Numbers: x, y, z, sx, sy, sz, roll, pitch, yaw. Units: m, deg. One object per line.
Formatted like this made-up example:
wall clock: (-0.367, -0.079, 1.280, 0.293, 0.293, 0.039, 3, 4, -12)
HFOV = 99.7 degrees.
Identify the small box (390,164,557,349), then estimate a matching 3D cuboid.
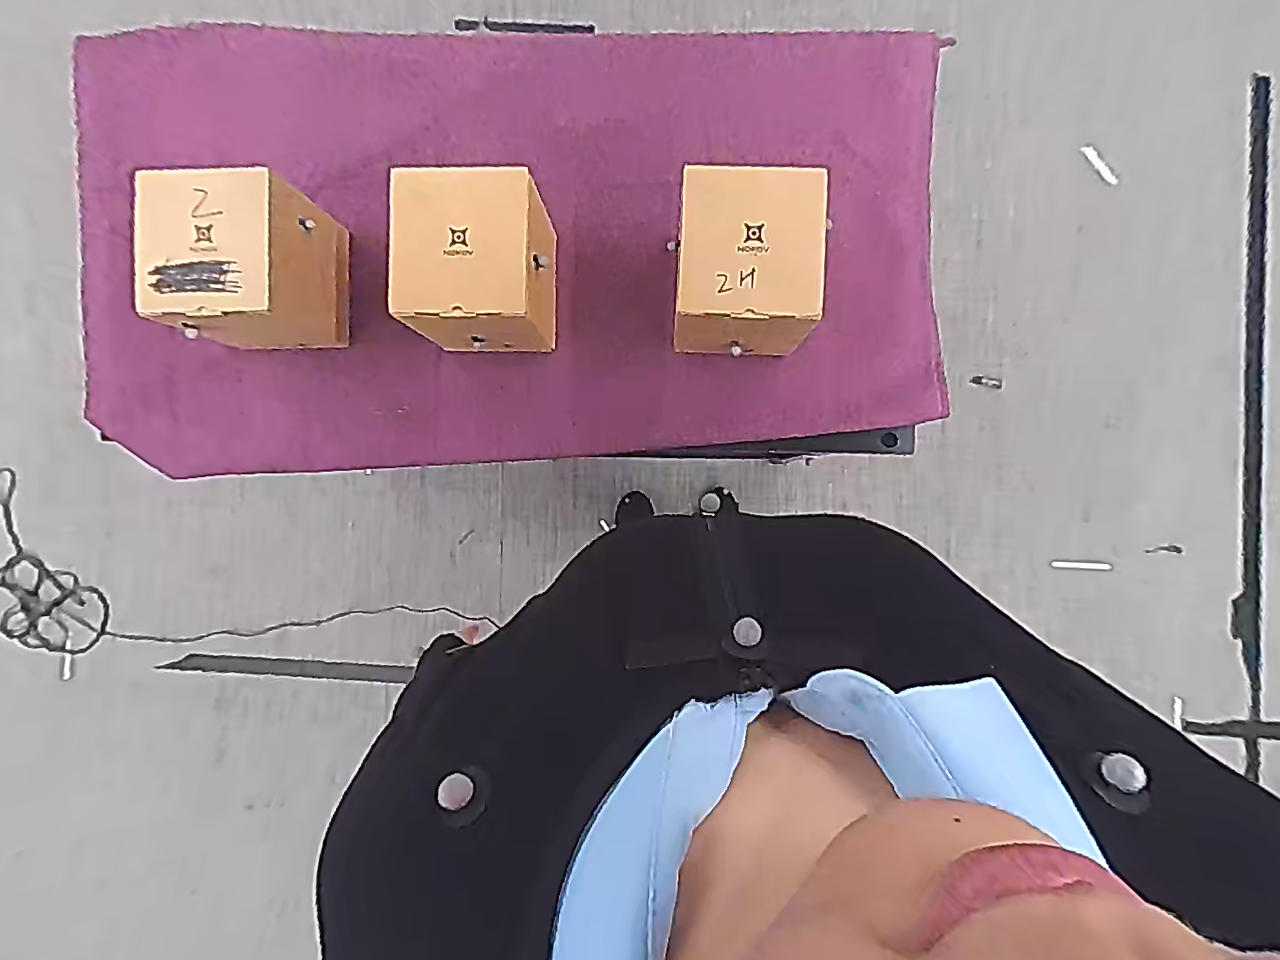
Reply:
small box: (-0.207, -0.282, 0.712, 0.168, 0.176, 0.179, 1, 90, 2)

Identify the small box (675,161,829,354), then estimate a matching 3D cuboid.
small box: (0.132, -0.273, 0.694, 0.168, 0.176, 0.179, 3, 89, 3)
